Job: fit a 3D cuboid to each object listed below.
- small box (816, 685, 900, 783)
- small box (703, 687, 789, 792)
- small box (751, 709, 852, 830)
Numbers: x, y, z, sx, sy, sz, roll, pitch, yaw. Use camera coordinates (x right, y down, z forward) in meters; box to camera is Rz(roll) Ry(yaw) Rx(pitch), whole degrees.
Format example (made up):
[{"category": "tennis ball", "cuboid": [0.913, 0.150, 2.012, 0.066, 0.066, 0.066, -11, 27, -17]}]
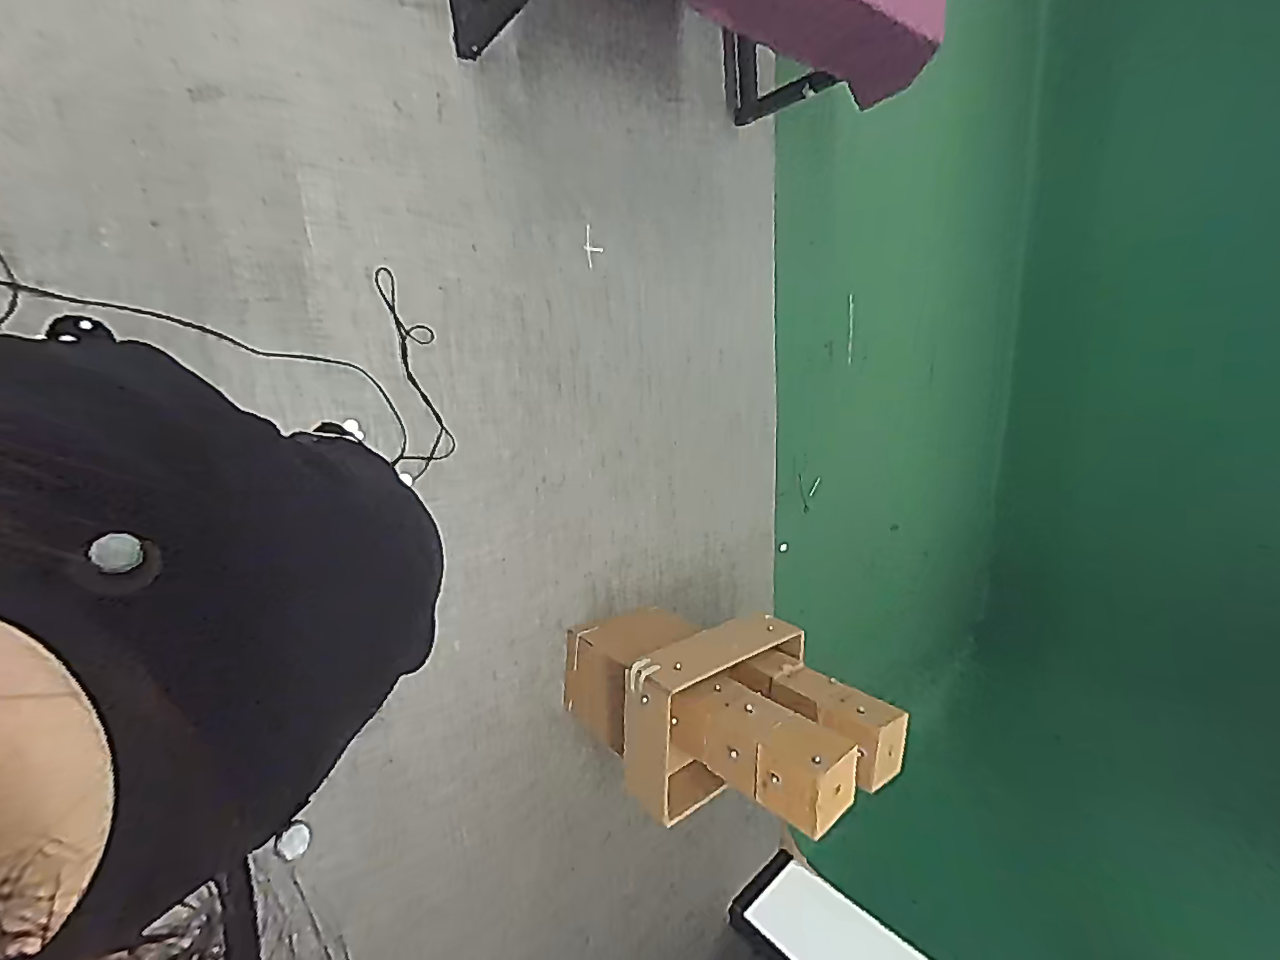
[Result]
[{"category": "small box", "cuboid": [0.600, 0.695, 1.511, 0.168, 0.176, 0.179, -1, 99, -40]}, {"category": "small box", "cuboid": [0.283, 0.680, 1.450, 0.168, 0.176, 0.179, -11, 104, -40]}, {"category": "small box", "cuboid": [0.396, 0.699, 1.333, 0.179, 0.176, 0.168, -11, 105, -40]}]
